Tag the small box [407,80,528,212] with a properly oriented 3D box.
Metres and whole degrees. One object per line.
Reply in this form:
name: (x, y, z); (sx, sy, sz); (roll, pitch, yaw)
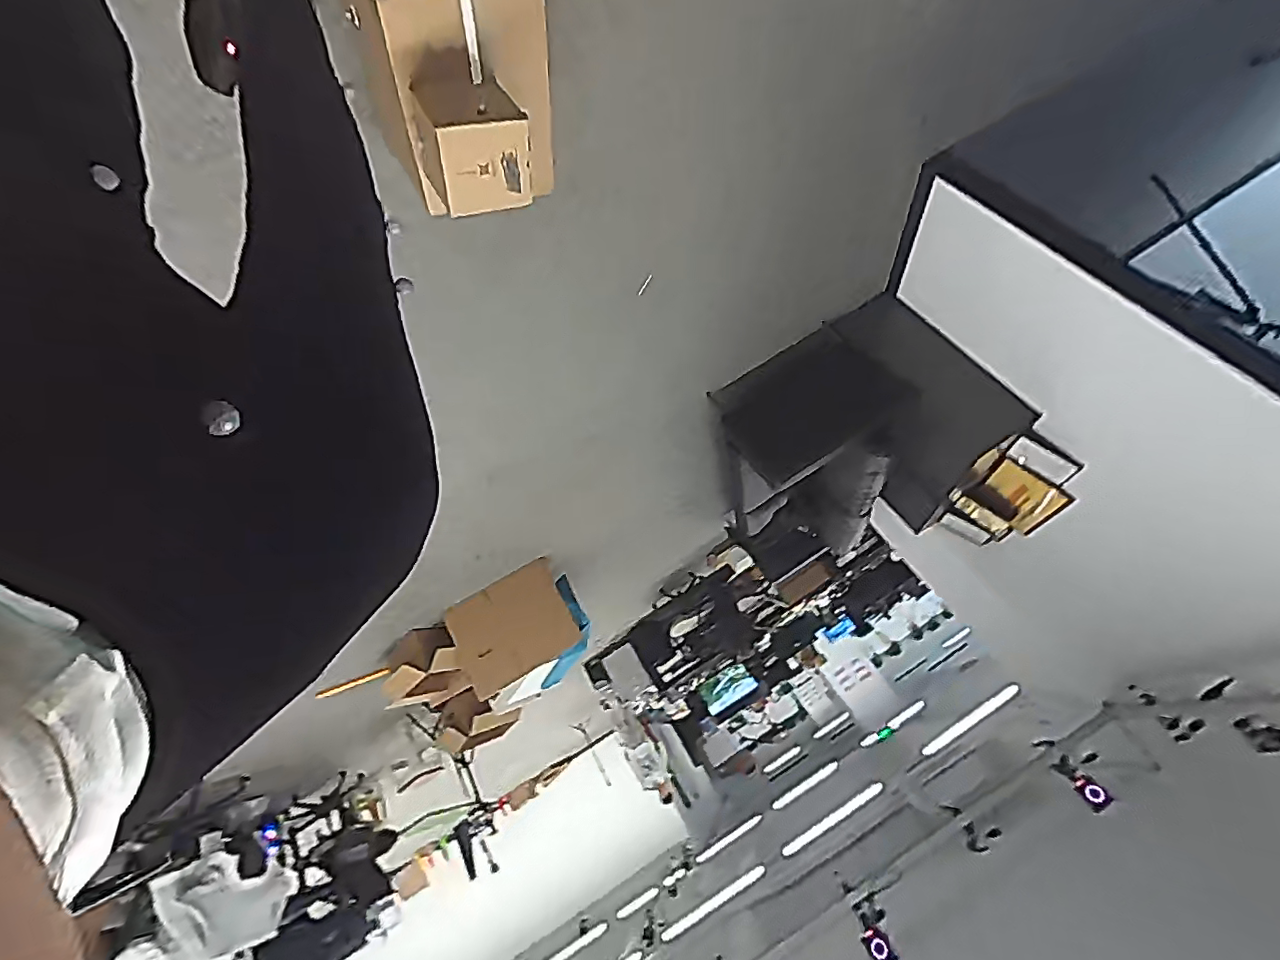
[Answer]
small box: (-0.336, -0.665, 1.072); (0.179, 0.176, 0.168); (-21, 151, -22)
